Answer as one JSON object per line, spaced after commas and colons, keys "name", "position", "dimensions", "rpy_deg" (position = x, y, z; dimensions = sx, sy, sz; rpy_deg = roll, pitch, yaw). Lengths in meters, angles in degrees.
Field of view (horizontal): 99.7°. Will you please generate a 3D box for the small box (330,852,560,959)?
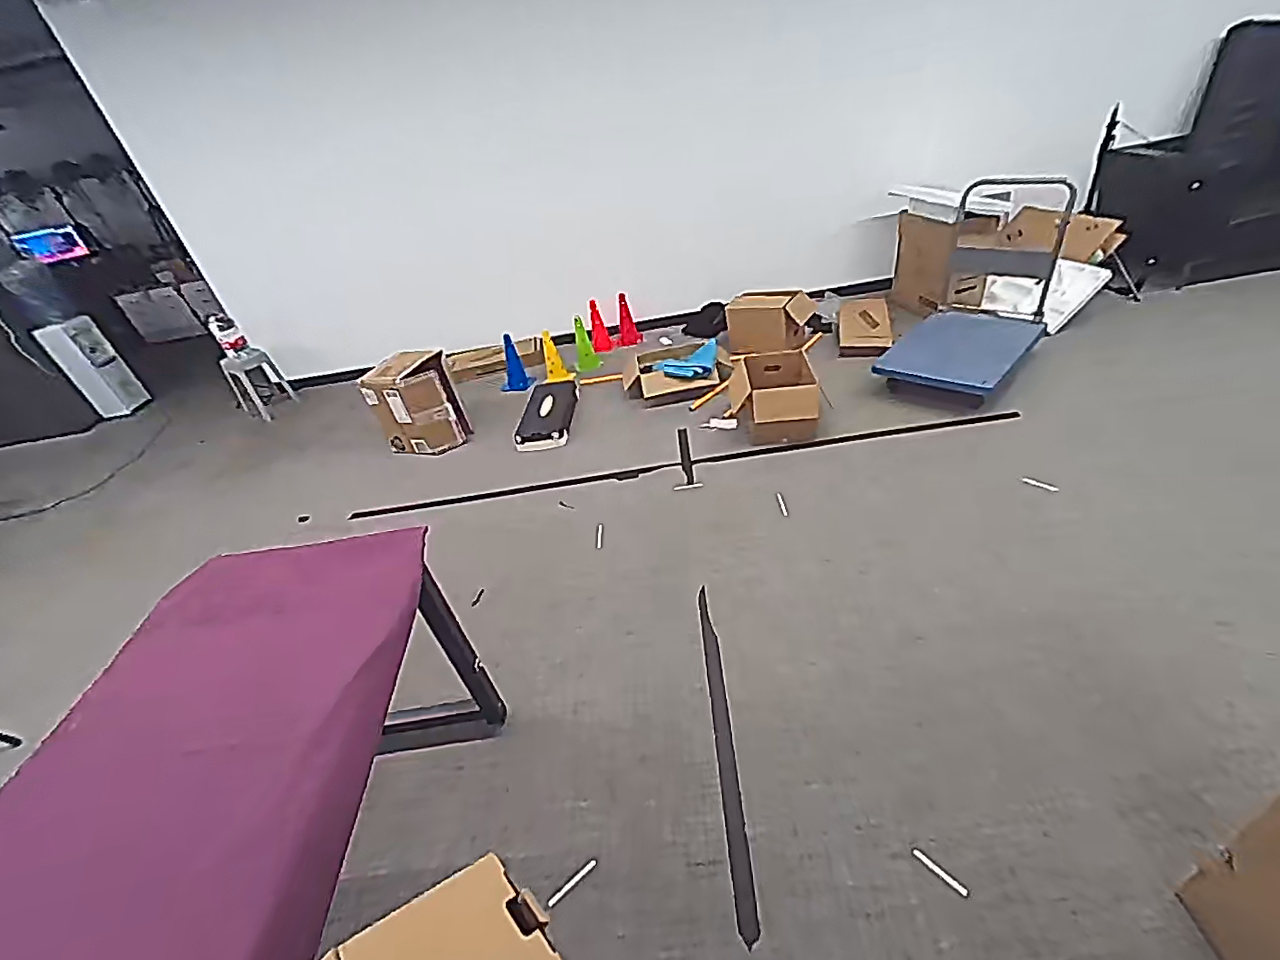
{"name": "small box", "position": [-0.198, 0.548, 0.551], "dimensions": [0.179, 0.176, 0.168], "rpy_deg": [-5, 24, -44]}
